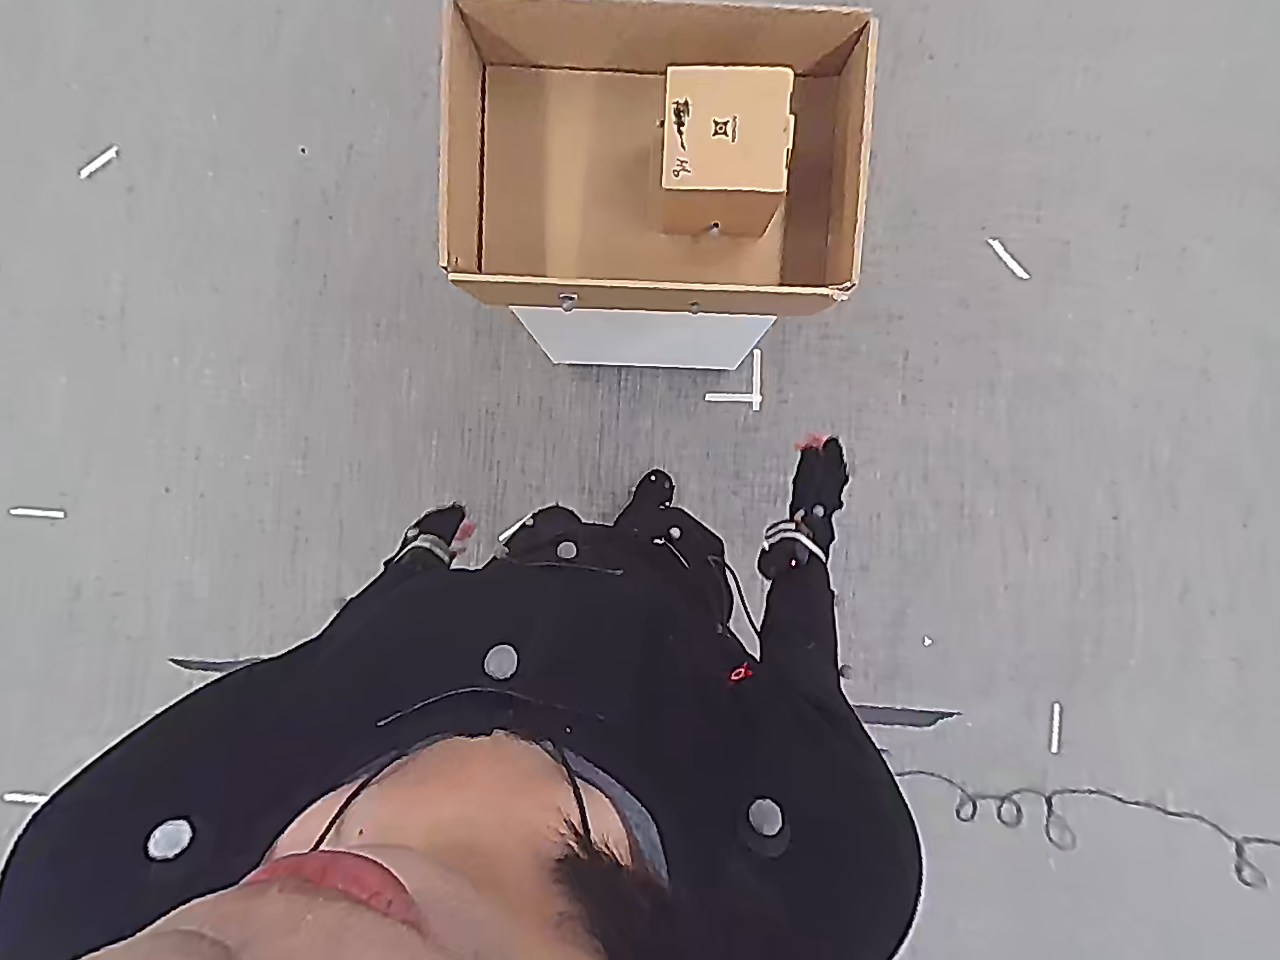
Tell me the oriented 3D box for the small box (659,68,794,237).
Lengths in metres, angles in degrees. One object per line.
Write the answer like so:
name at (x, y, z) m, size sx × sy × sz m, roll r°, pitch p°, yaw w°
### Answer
small box at (0.122, -0.487, 0.829) m, size 0.179 × 0.176 × 0.168 m, roll 3°, pitch 94°, yaw 1°
